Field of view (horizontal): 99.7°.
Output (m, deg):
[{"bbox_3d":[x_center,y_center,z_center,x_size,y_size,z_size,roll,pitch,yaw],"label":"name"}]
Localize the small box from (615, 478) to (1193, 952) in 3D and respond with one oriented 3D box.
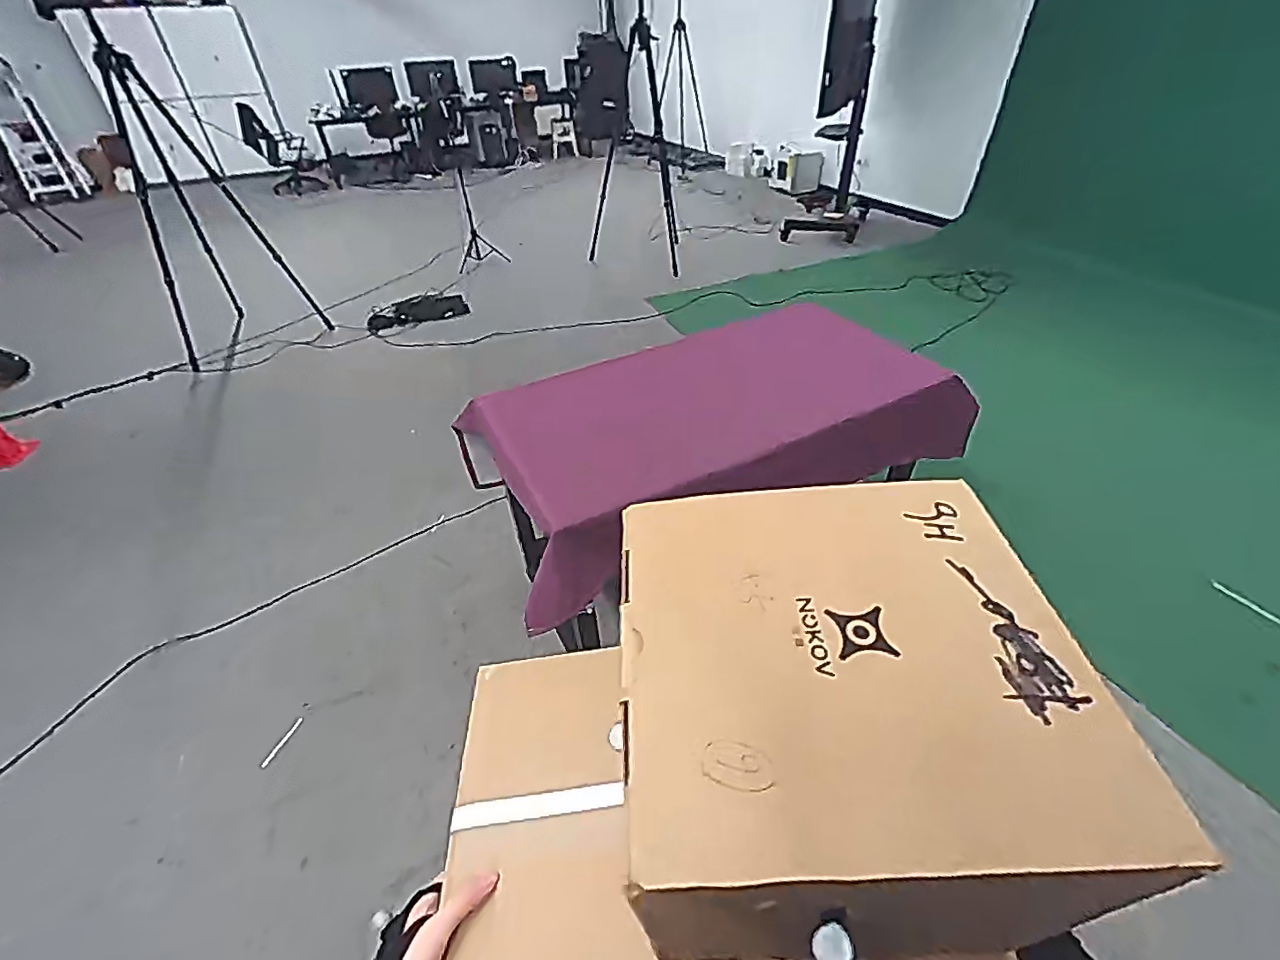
[{"bbox_3d":[0.087,0.121,0.275,0.179,0.176,0.168,-5,43,3],"label":"small box"}]
